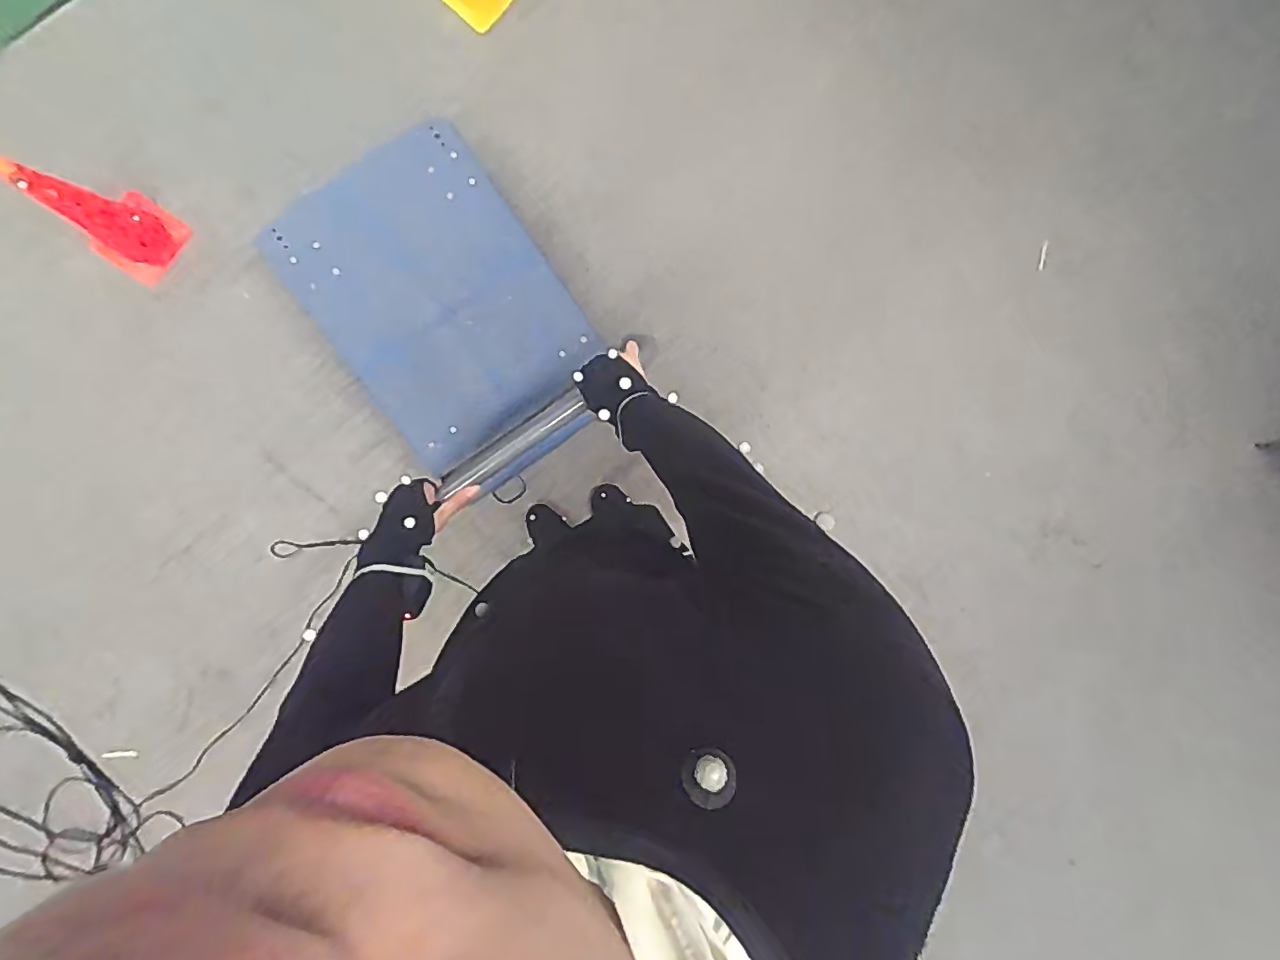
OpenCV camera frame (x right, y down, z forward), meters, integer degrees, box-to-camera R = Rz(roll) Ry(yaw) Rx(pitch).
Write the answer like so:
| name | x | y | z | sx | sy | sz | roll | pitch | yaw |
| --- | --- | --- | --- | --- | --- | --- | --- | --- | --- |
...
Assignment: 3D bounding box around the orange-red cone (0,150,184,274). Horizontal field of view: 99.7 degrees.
| name | x | y | z | sx | sy | sz | roll | pitch | yaw |
| --- | --- | --- | --- | --- | --- | --- | --- | --- | --- |
| orange-red cone | -1.364 | -0.681 | 1.307 | 0.198 | 0.360 | 0.199 | 36 | 90 | -5 |
